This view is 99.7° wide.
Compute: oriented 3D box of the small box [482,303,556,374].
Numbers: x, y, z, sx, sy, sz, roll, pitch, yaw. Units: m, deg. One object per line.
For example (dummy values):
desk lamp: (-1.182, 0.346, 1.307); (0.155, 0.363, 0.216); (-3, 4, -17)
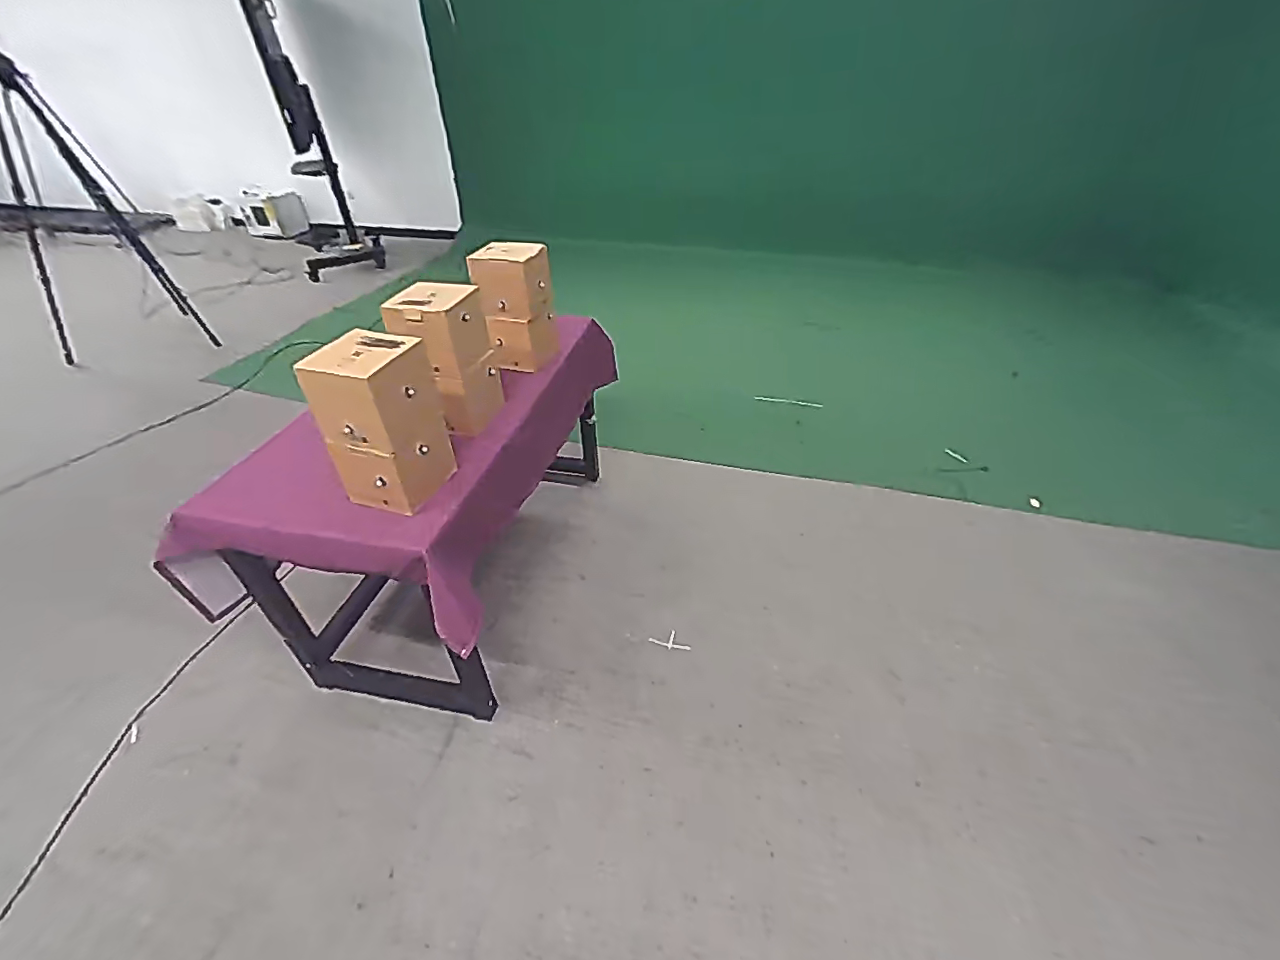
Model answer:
small box: (-0.374, -0.450, 1.694); (0.168, 0.176, 0.179); (11, 40, 15)

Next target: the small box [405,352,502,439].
small box: (-0.478, -0.230, 1.420); (0.168, 0.176, 0.179); (8, 39, 13)

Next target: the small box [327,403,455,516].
small box: (-0.535, -0.045, 1.191); (0.168, 0.176, 0.179); (12, 40, 15)

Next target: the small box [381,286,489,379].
small box: (-0.487, -0.361, 1.320); (0.168, 0.176, 0.179); (7, 38, 10)

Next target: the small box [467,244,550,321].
small box: (-0.377, -0.580, 1.594); (0.179, 0.176, 0.168); (9, 39, 12)
